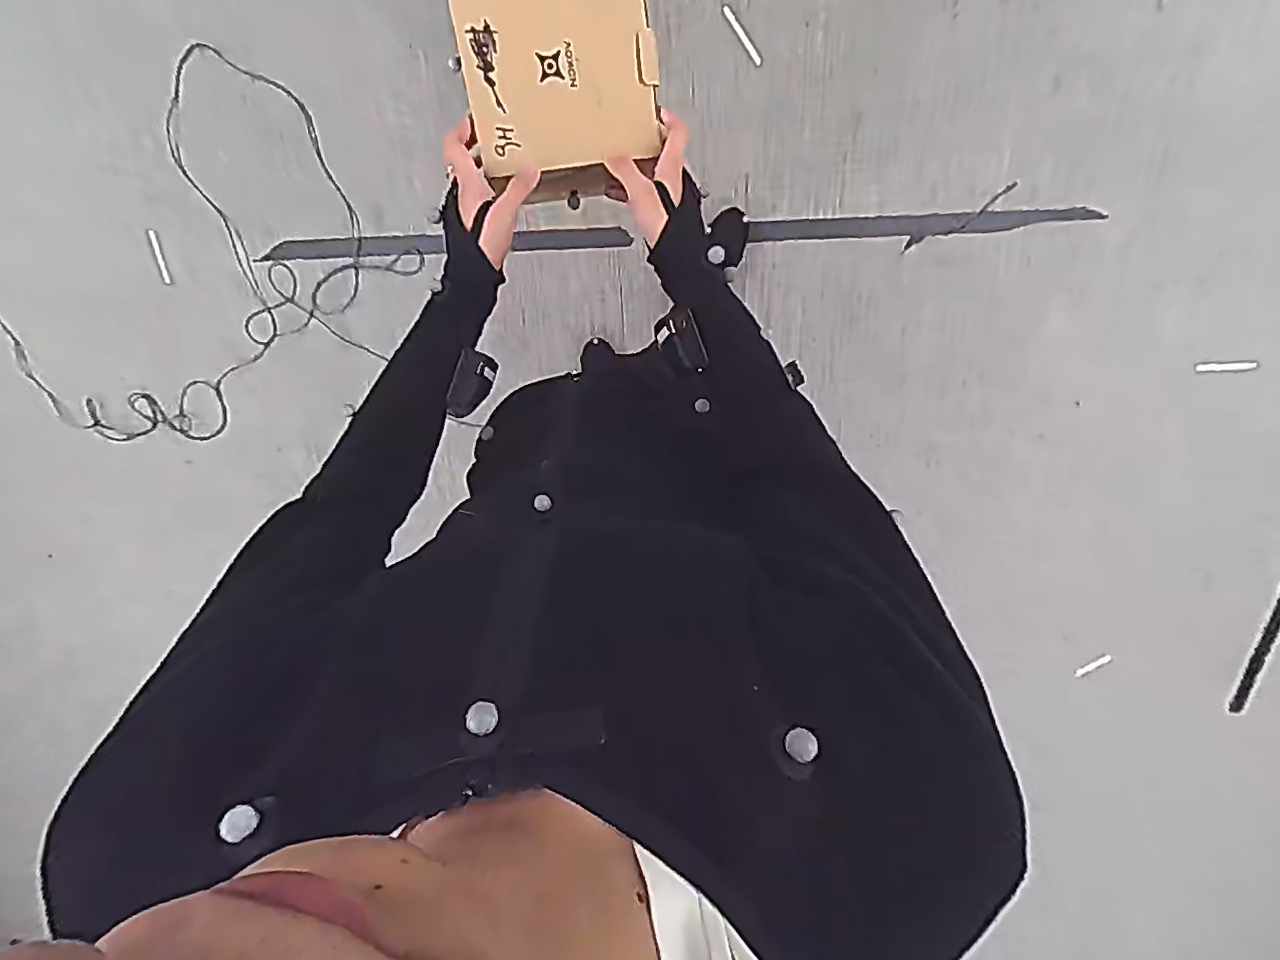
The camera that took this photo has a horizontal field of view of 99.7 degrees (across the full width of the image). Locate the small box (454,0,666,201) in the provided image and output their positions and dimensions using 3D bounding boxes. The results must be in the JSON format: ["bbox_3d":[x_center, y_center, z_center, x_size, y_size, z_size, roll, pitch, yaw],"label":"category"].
[{"bbox_3d":[-0.081,-0.402,0.564,0.179,0.176,0.168,-10,109,-6],"label":"small box"}]
